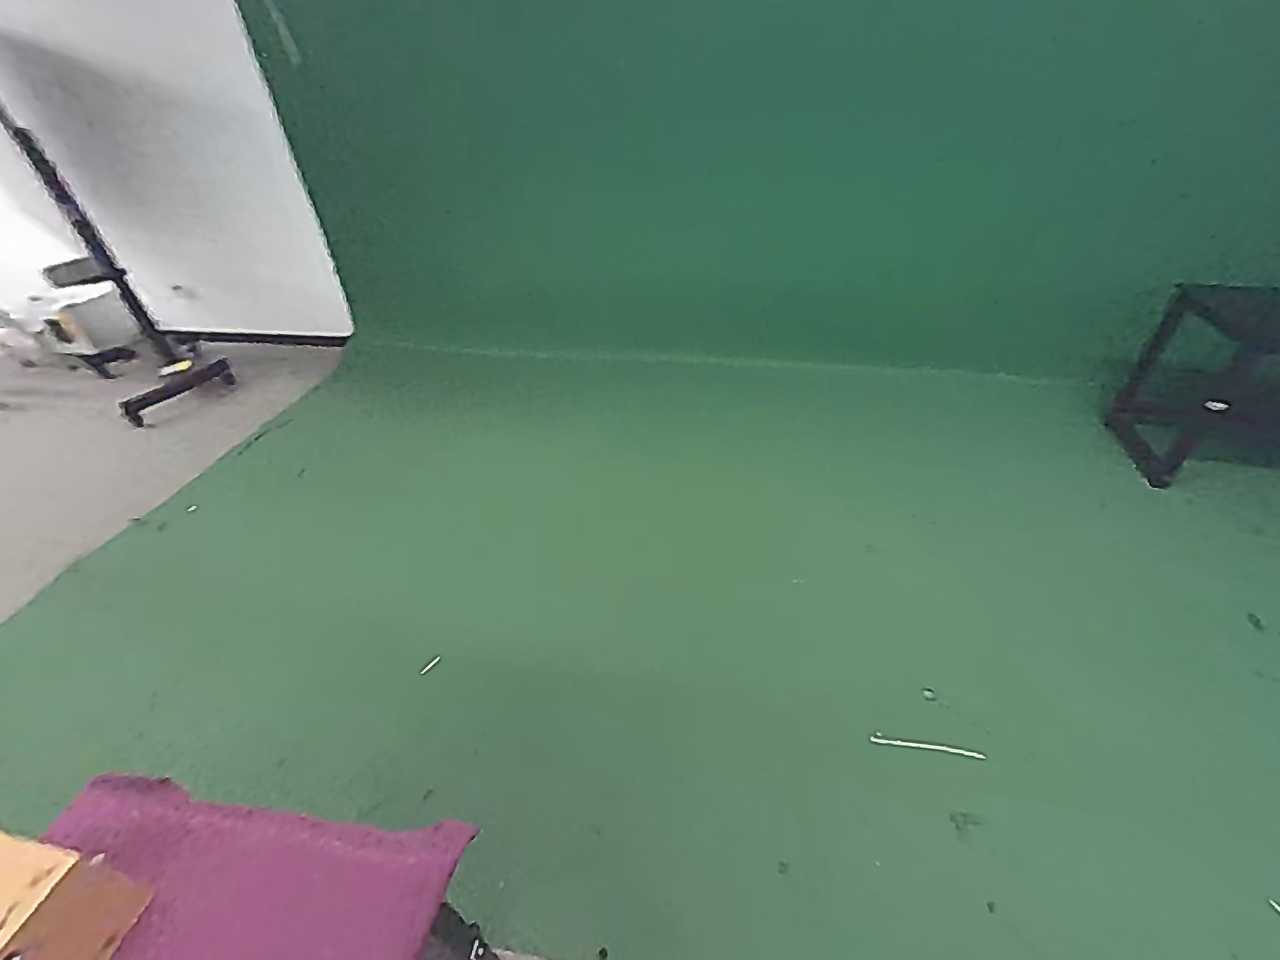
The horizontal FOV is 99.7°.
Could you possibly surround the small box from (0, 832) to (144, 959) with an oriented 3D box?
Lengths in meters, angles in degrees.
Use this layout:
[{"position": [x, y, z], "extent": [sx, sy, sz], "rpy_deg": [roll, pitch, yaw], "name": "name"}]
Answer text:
[{"position": [-0.797, 0.563, 0.670], "extent": [0.179, 0.176, 0.168], "rpy_deg": [7, 41, 9], "name": "small box"}]
